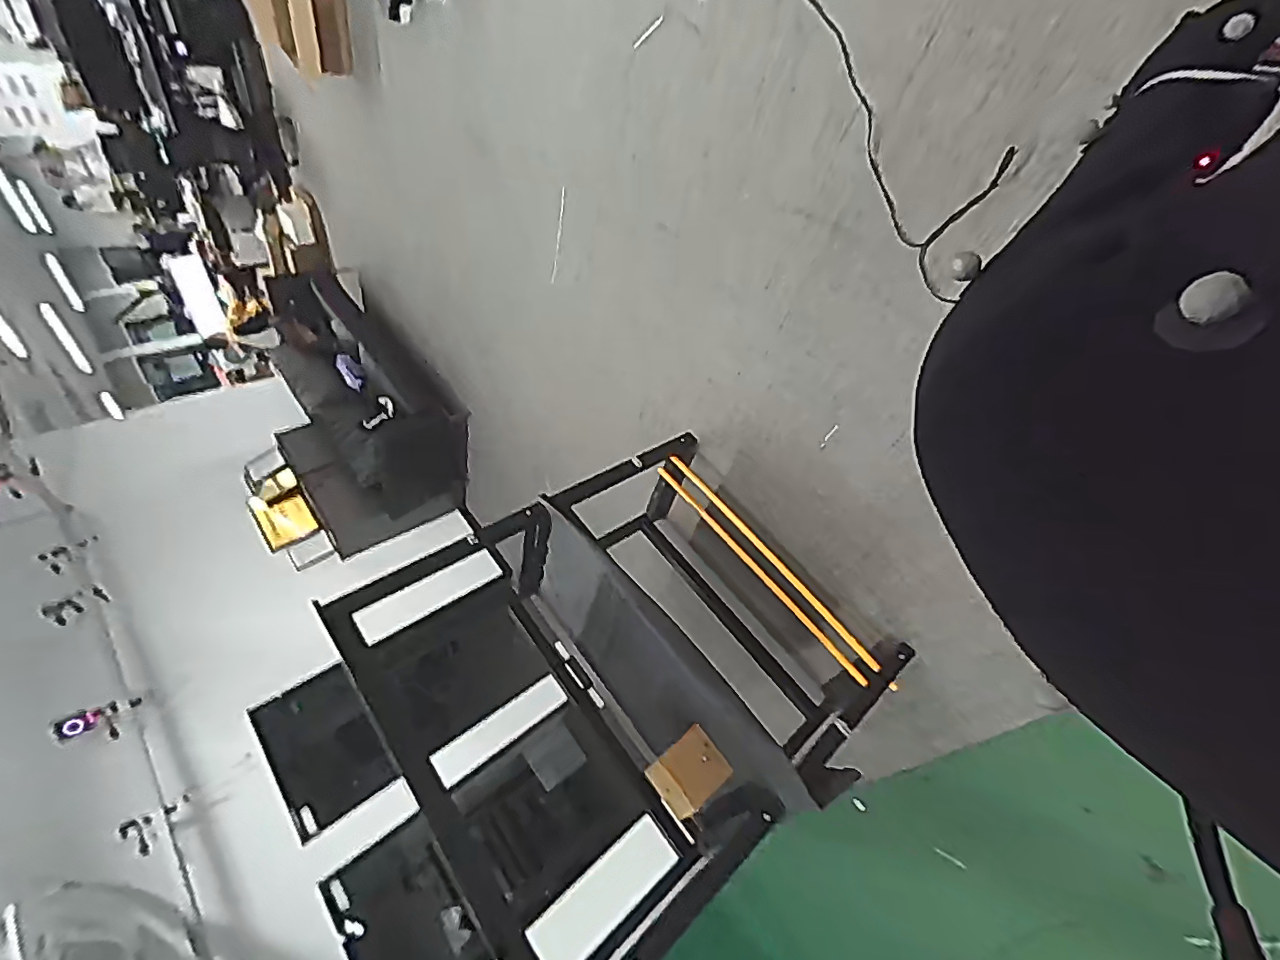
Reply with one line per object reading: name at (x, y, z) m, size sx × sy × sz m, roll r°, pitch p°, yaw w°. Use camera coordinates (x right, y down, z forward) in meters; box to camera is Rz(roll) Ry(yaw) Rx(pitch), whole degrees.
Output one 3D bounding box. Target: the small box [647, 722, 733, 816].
small box at (0.151, 0.865, 1.625) m, size 0.168 × 0.176 × 0.179 m, roll 47°, pitch 144°, yaw 22°
